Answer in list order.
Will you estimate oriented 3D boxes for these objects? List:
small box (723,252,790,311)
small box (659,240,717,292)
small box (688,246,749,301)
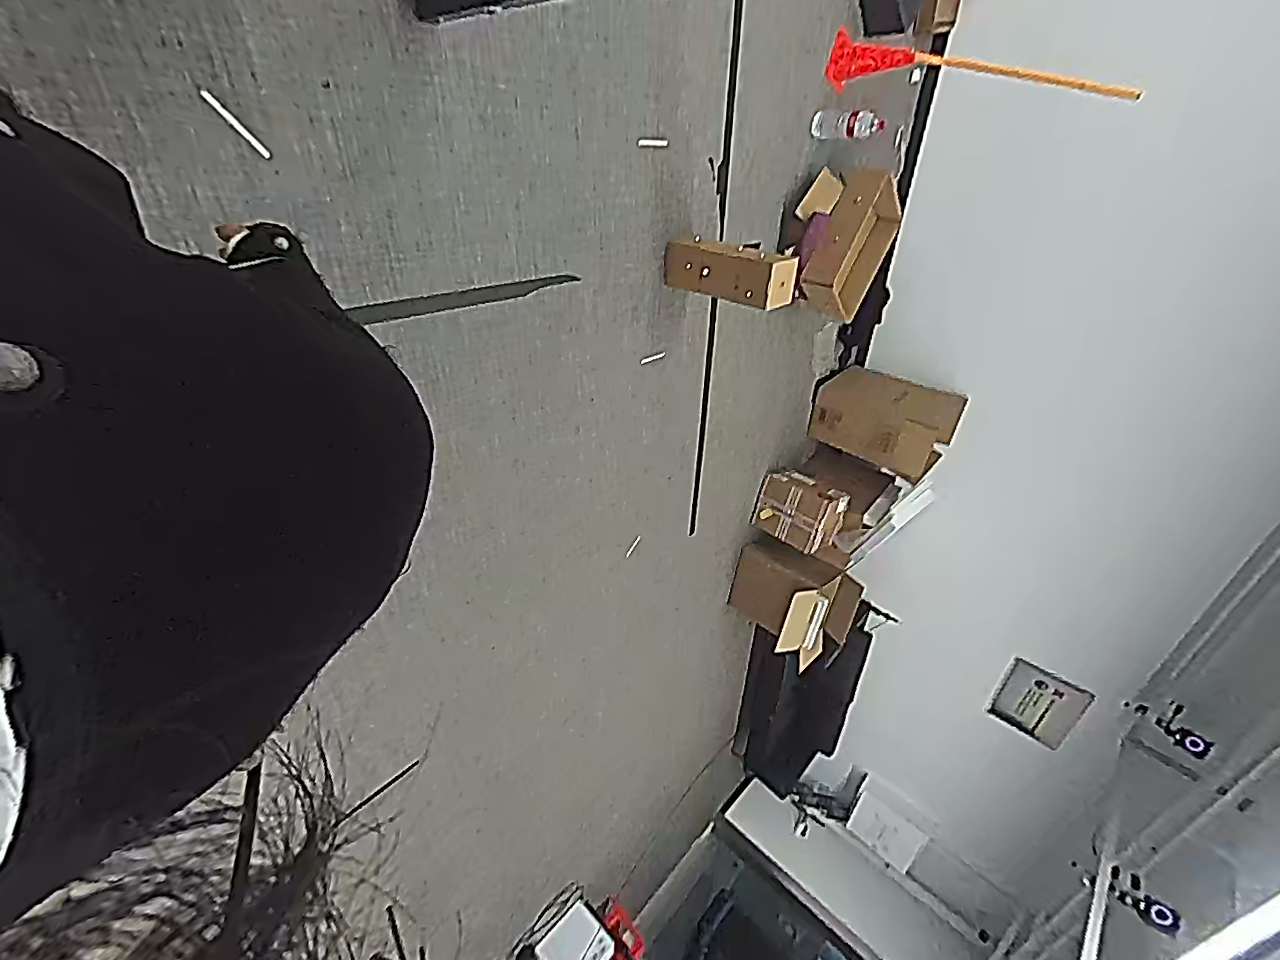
[{"bbox_3d":[0.429,-0.743,2.014,0.179,0.176,0.168,-30,135,-39],"label":"small box"},{"bbox_3d":[0.193,-0.874,2.198,0.168,0.176,0.179,-28,133,-39],"label":"small box"},{"bbox_3d":[0.309,-0.807,2.103,0.179,0.176,0.168,-28,133,-38],"label":"small box"}]
